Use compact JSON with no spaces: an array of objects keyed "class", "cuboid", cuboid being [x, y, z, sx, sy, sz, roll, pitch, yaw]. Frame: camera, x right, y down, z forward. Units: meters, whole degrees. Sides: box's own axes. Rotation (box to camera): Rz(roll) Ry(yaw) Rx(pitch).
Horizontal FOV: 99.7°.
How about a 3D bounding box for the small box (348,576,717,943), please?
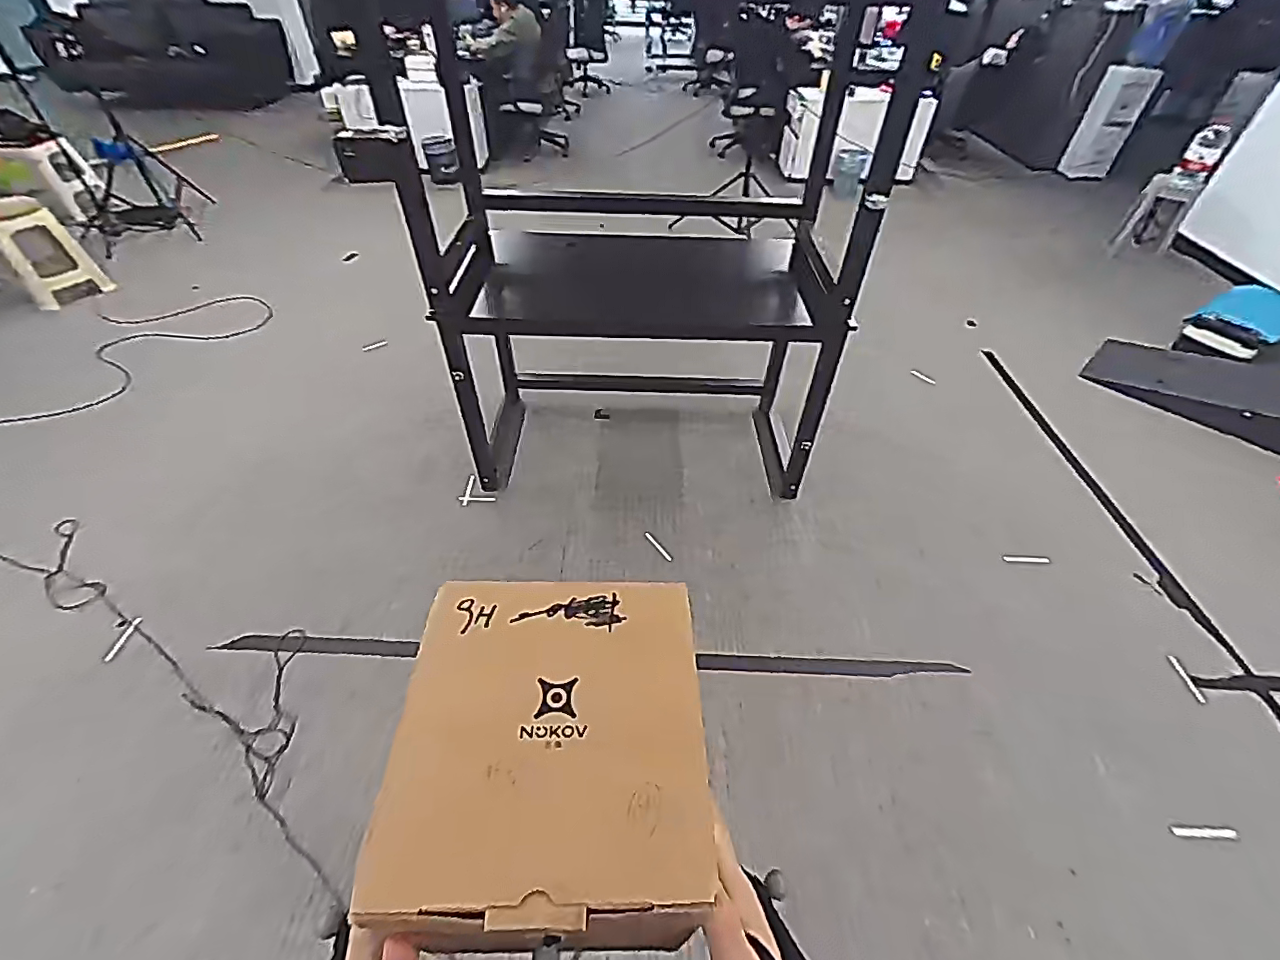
[{"class":"small box","cuboid":[-0.050,0.182,0.350,0.168,0.176,0.179,1,46,-3]}]
